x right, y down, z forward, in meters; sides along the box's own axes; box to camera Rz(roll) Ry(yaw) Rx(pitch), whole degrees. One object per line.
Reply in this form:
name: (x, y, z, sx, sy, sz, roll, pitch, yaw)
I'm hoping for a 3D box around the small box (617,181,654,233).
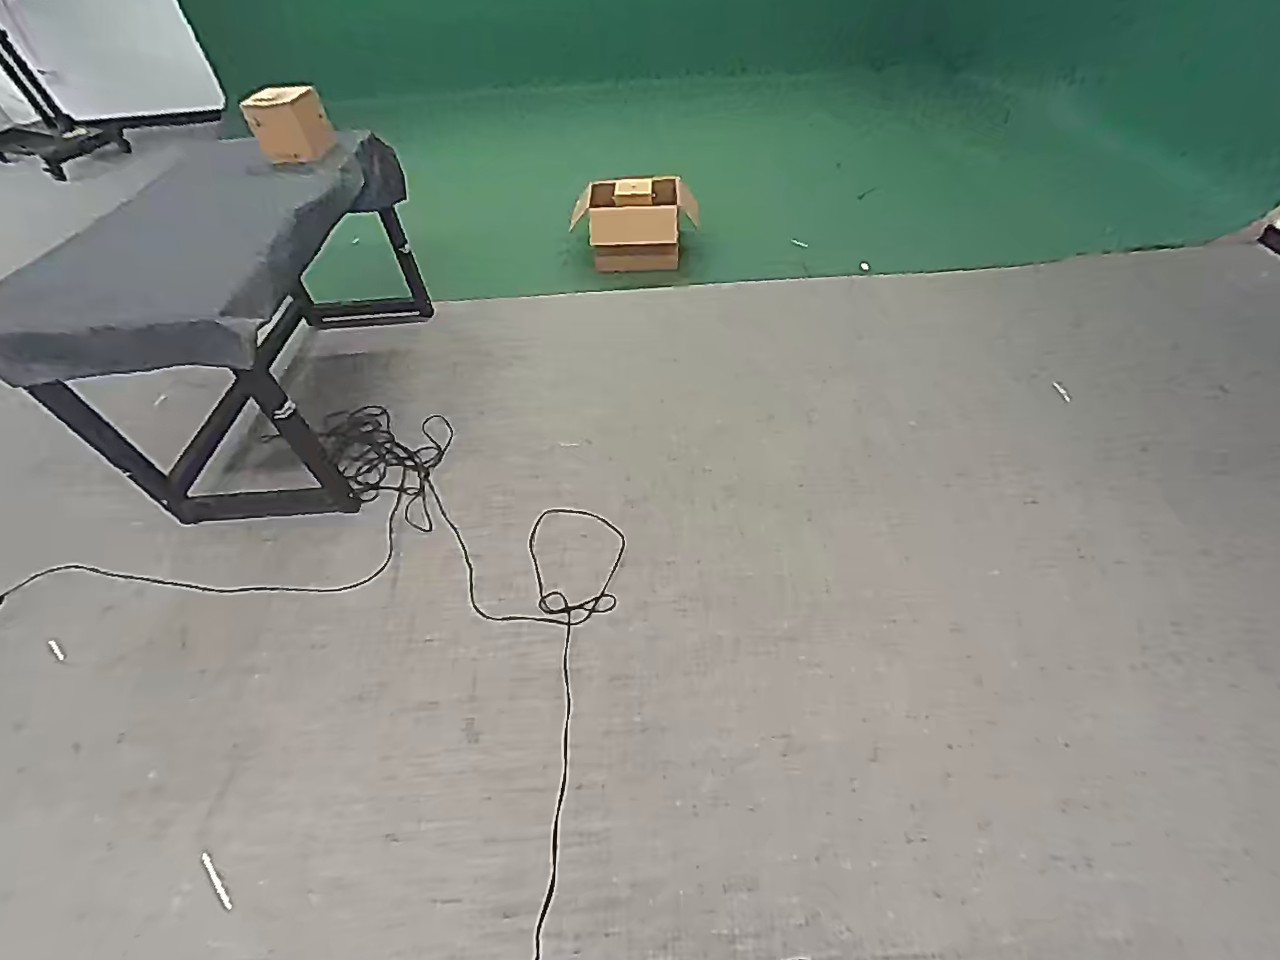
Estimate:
small box: (-0.018, -1.273, 2.521, 0.168, 0.176, 0.179, 0, 49, 3)
